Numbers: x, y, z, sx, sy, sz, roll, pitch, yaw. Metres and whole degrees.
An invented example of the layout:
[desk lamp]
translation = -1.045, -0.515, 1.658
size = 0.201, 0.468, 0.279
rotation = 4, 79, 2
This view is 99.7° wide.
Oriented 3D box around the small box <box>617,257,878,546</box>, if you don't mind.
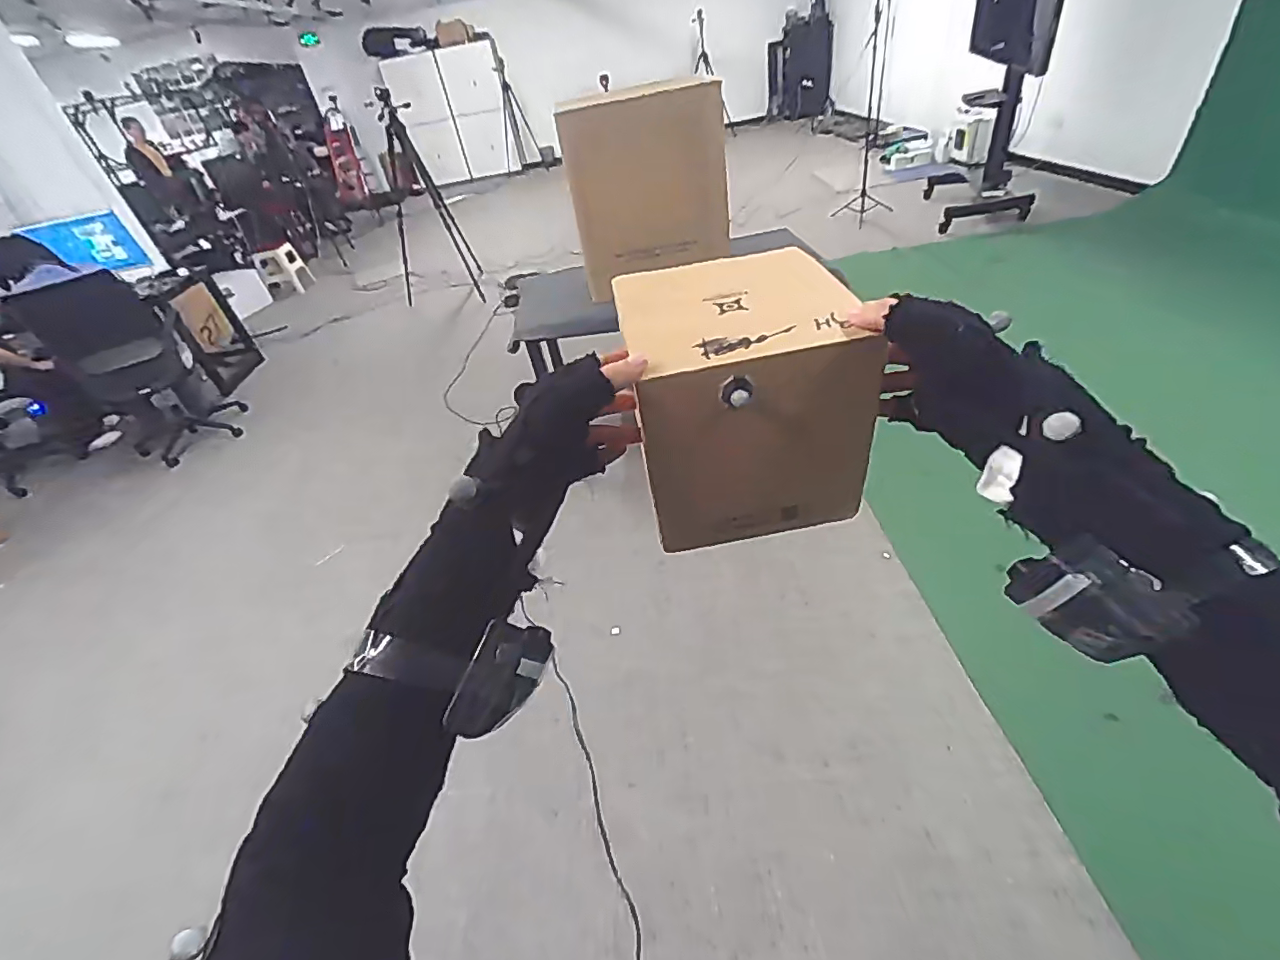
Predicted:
[small box]
translation = 0.078, -0.070, 0.467
size = 0.168, 0.176, 0.179
rotation = -11, 40, 0
